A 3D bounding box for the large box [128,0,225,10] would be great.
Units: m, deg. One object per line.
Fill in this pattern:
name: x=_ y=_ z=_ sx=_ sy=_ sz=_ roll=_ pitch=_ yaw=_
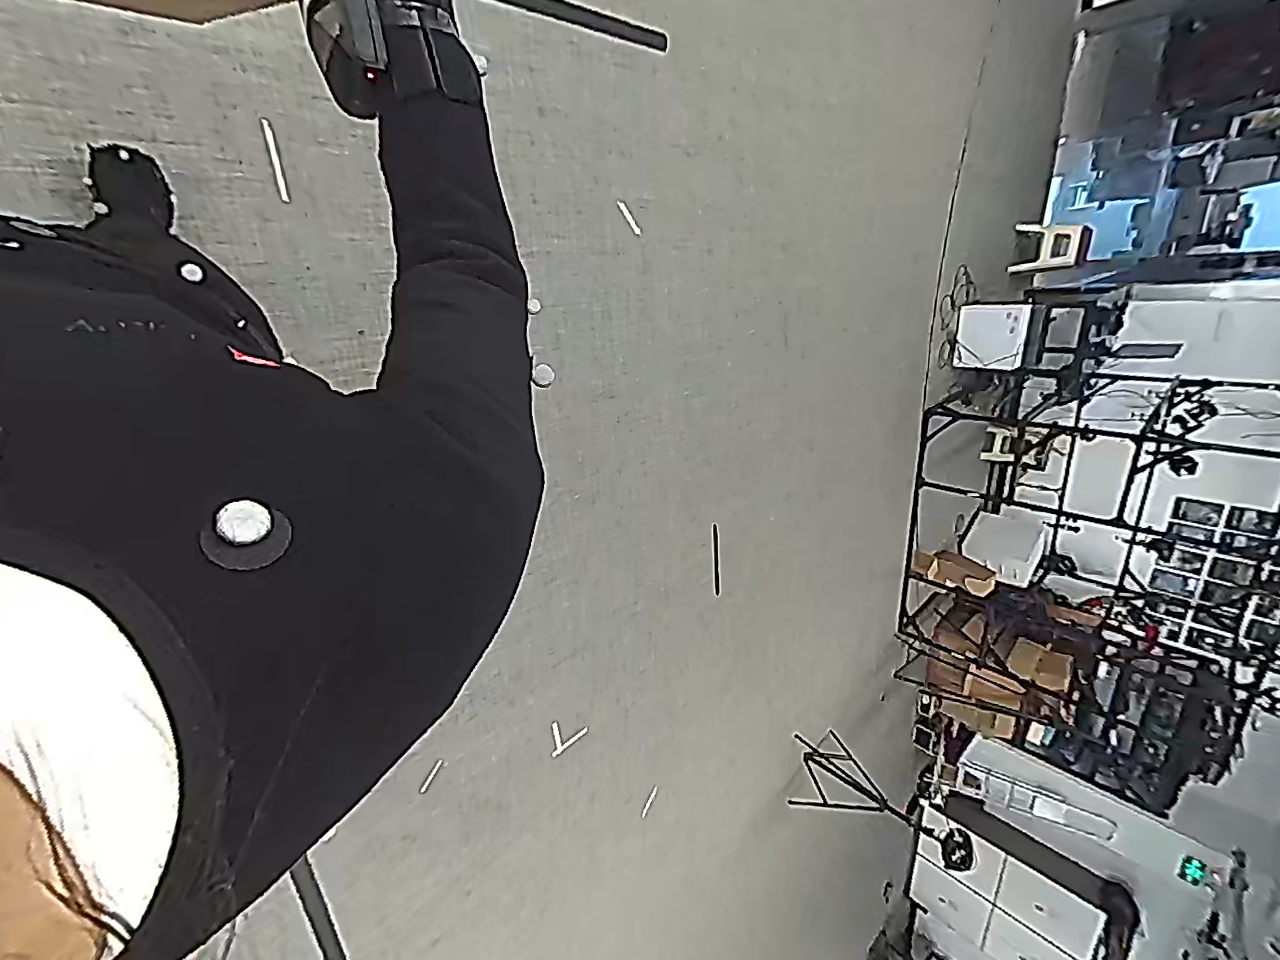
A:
large box: x=-0.456 y=-0.454 z=0.235 sx=0.408 sy=0.320 sz=0.320 roll=-22 pitch=133 yaw=-39
